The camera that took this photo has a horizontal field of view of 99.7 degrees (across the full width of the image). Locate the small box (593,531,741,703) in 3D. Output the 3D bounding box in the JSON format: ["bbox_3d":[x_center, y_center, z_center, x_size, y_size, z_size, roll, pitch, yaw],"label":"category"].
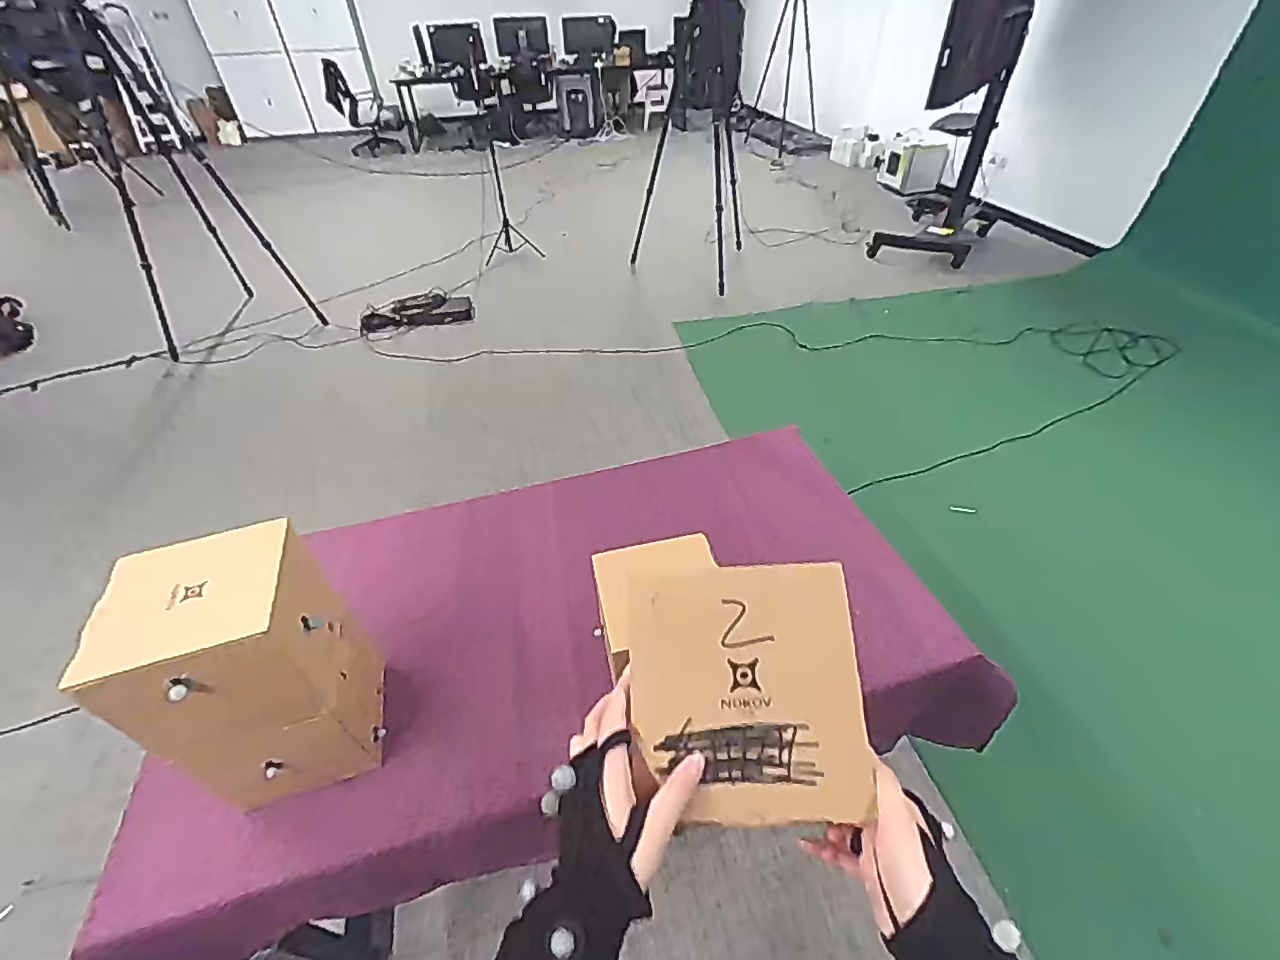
[{"bbox_3d":[0.035,0.203,0.795,0.179,0.176,0.168,-10,44,-7],"label":"small box"}]

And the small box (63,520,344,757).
[{"bbox_3d":[-0.459,0.177,0.612,0.179,0.176,0.168,-16,44,-12],"label":"small box"}]

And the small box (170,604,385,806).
[{"bbox_3d":[-0.457,0.298,0.721,0.179,0.176,0.168,-15,44,-11],"label":"small box"}]
